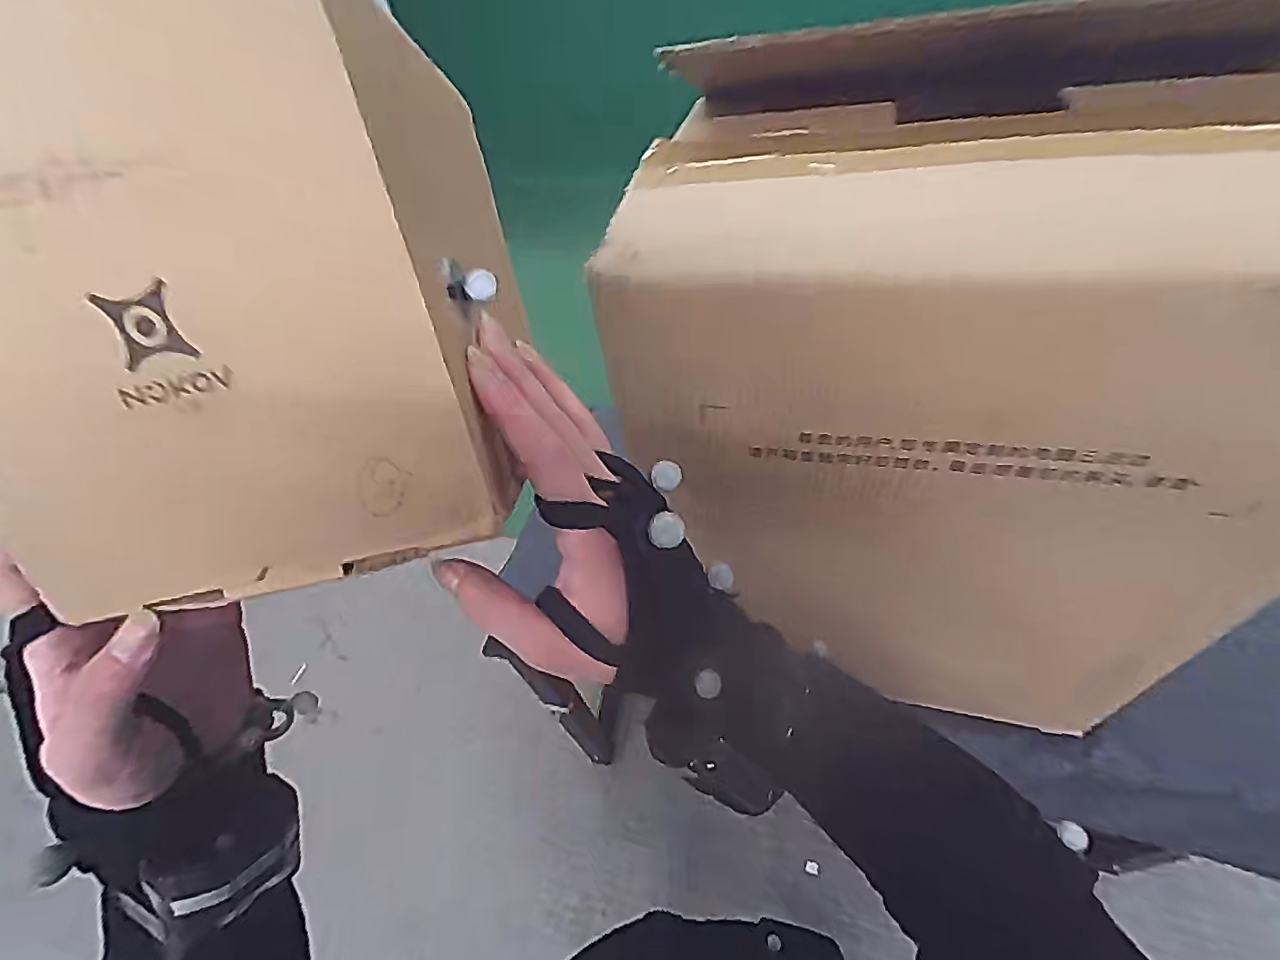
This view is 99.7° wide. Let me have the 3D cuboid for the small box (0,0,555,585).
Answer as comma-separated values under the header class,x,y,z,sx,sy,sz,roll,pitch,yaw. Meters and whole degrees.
class,x,y,z,sx,sy,sz,roll,pitch,yaw
small box,-0.143,-0.082,0.245,0.168,0.179,0.176,-12,20,2
